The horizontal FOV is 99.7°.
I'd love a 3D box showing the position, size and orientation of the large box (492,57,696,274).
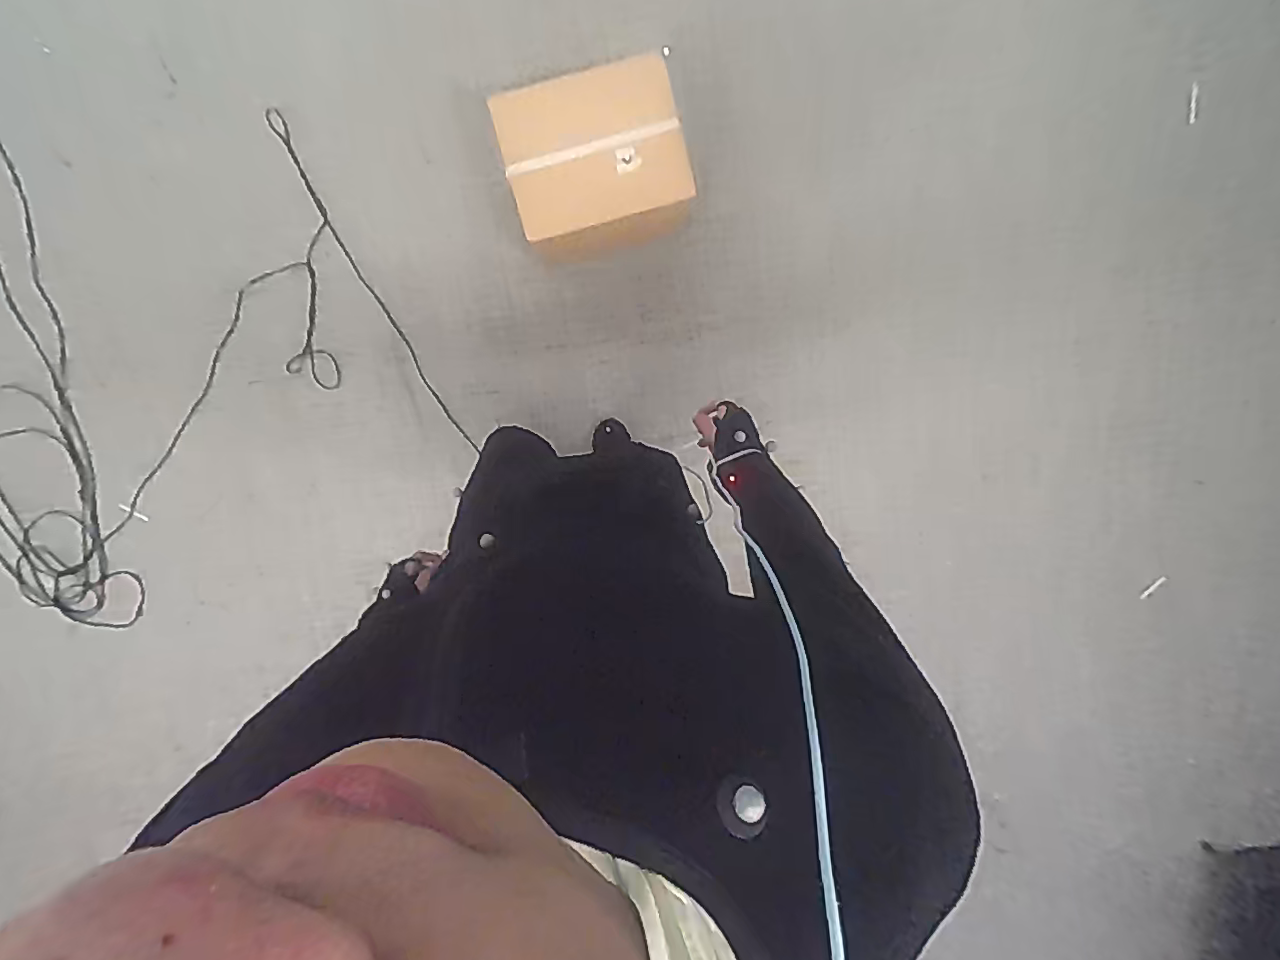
[{"bbox_3d":[-0.106,-0.758,1.364,0.408,0.320,0.320,-15,99,0],"label":"large box"}]
